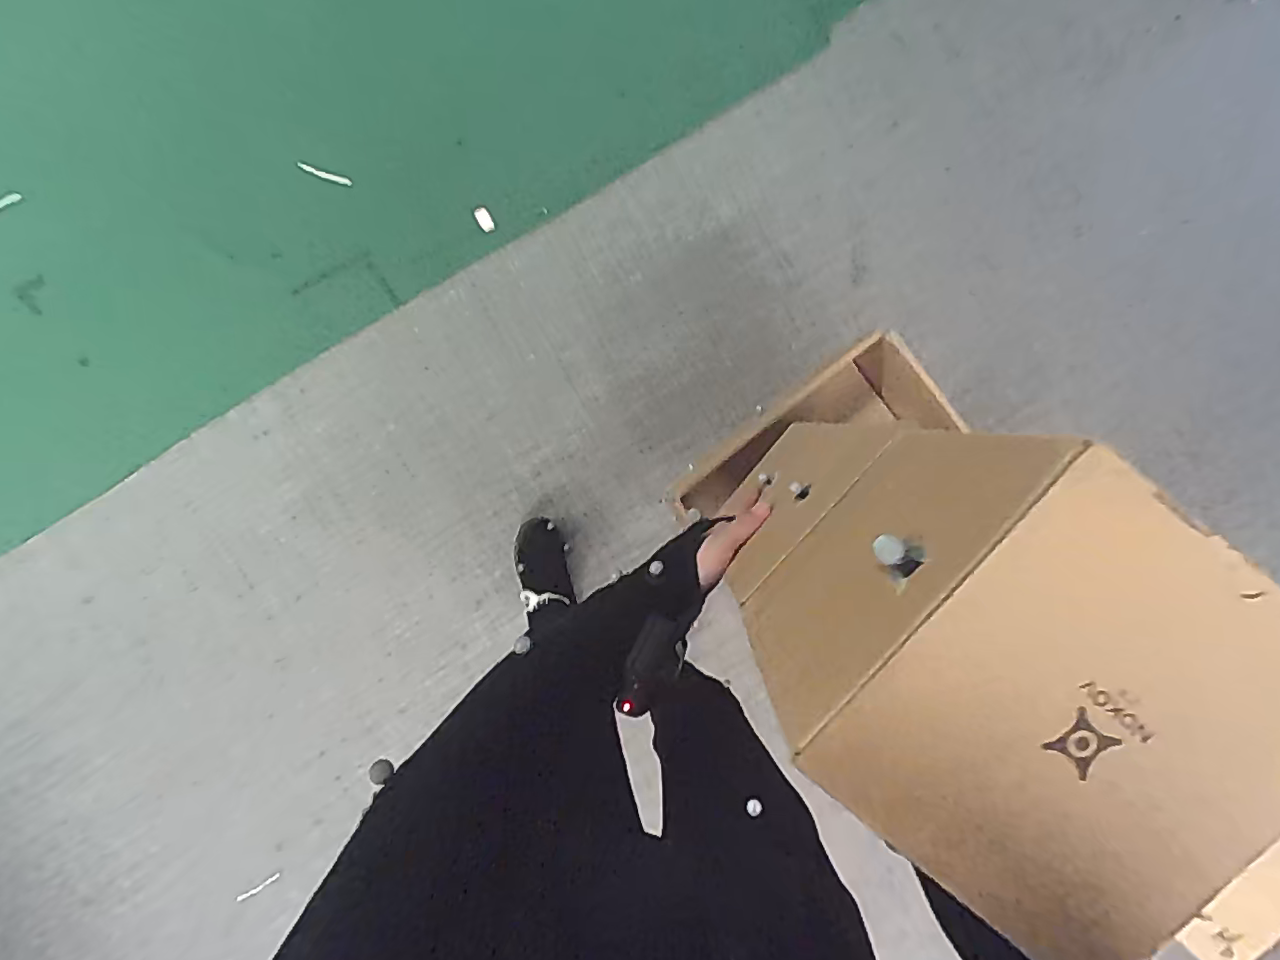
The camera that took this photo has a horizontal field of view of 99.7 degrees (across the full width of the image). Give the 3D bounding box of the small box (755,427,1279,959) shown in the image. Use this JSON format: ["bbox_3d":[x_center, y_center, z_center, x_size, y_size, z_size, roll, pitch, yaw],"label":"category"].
[{"bbox_3d":[0.178,0.091,0.282,0.168,0.176,0.179,39,95,-1],"label":"small box"}]
